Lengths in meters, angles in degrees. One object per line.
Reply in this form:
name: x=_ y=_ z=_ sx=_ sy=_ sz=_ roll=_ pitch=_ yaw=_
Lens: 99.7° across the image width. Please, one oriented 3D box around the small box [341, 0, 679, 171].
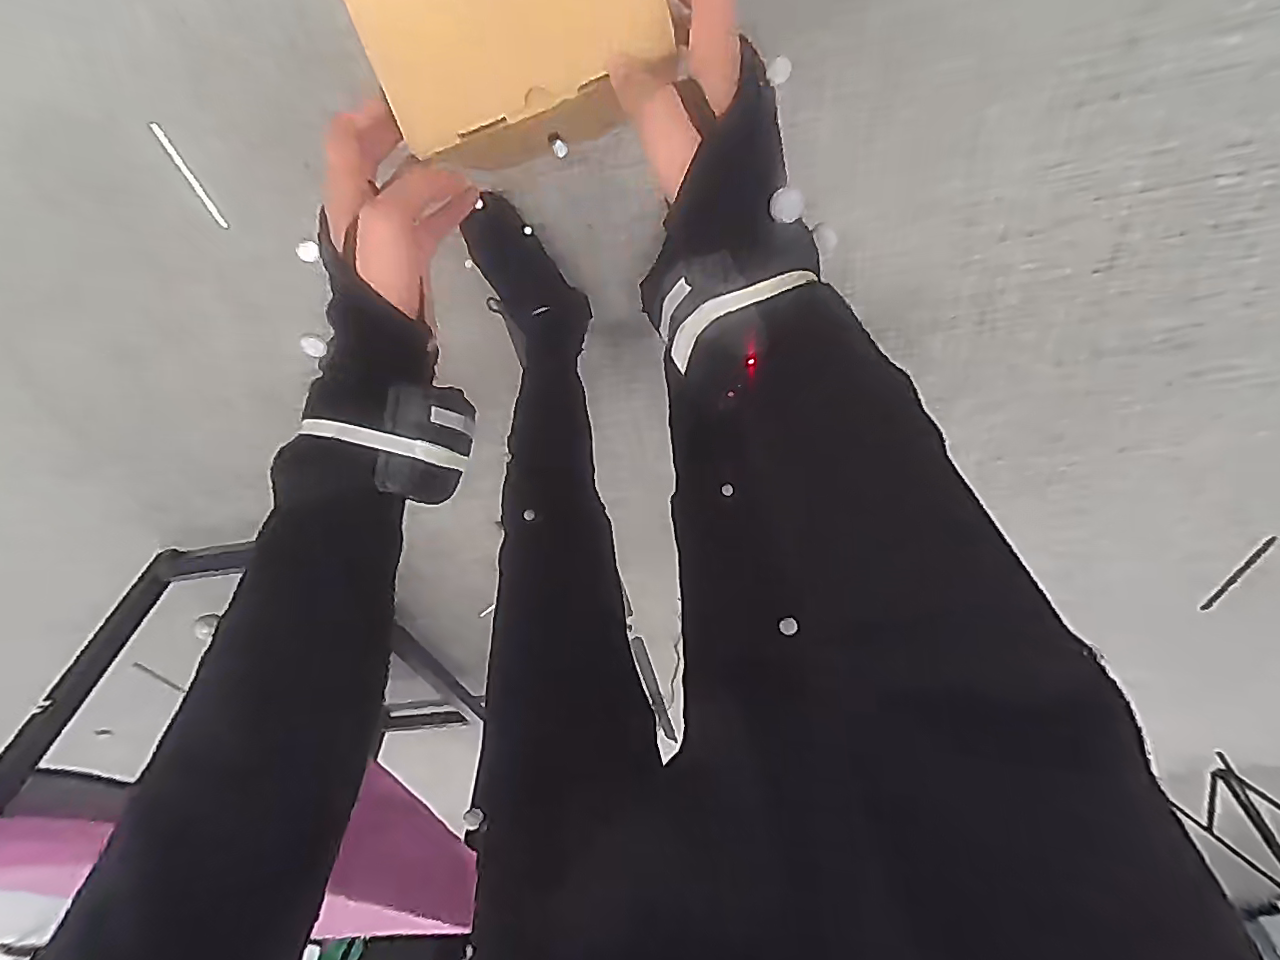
small box: x=-0.079 y=-0.315 z=0.338 sx=0.168 sy=0.176 sz=0.179 roll=-15 pitch=116 yaw=11
